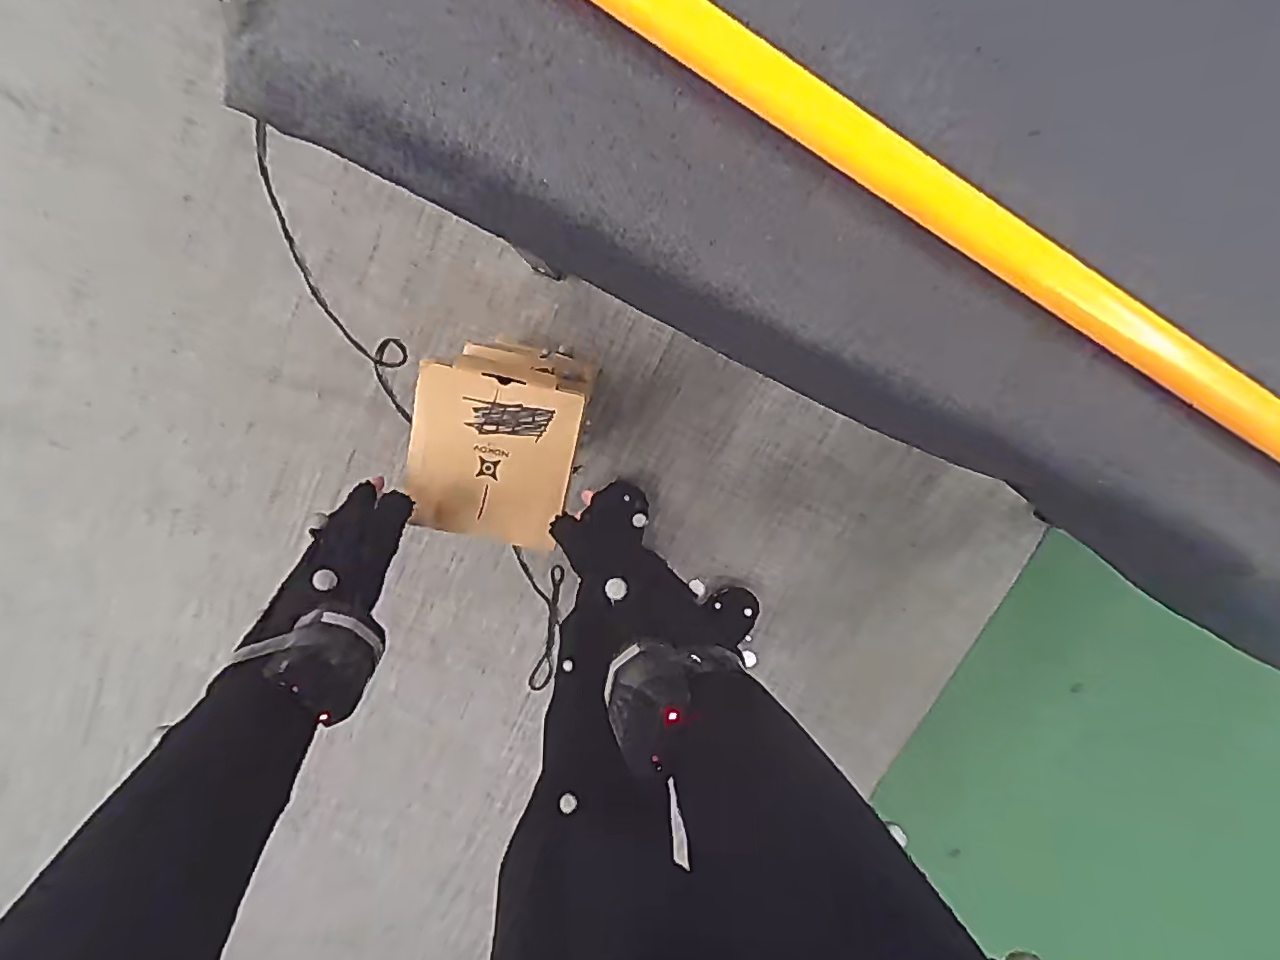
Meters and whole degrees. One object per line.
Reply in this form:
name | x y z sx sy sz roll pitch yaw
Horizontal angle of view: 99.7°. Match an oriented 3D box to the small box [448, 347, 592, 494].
small box | -0.166 -0.093 0.790 0.168 0.176 0.179 8 102 -2
